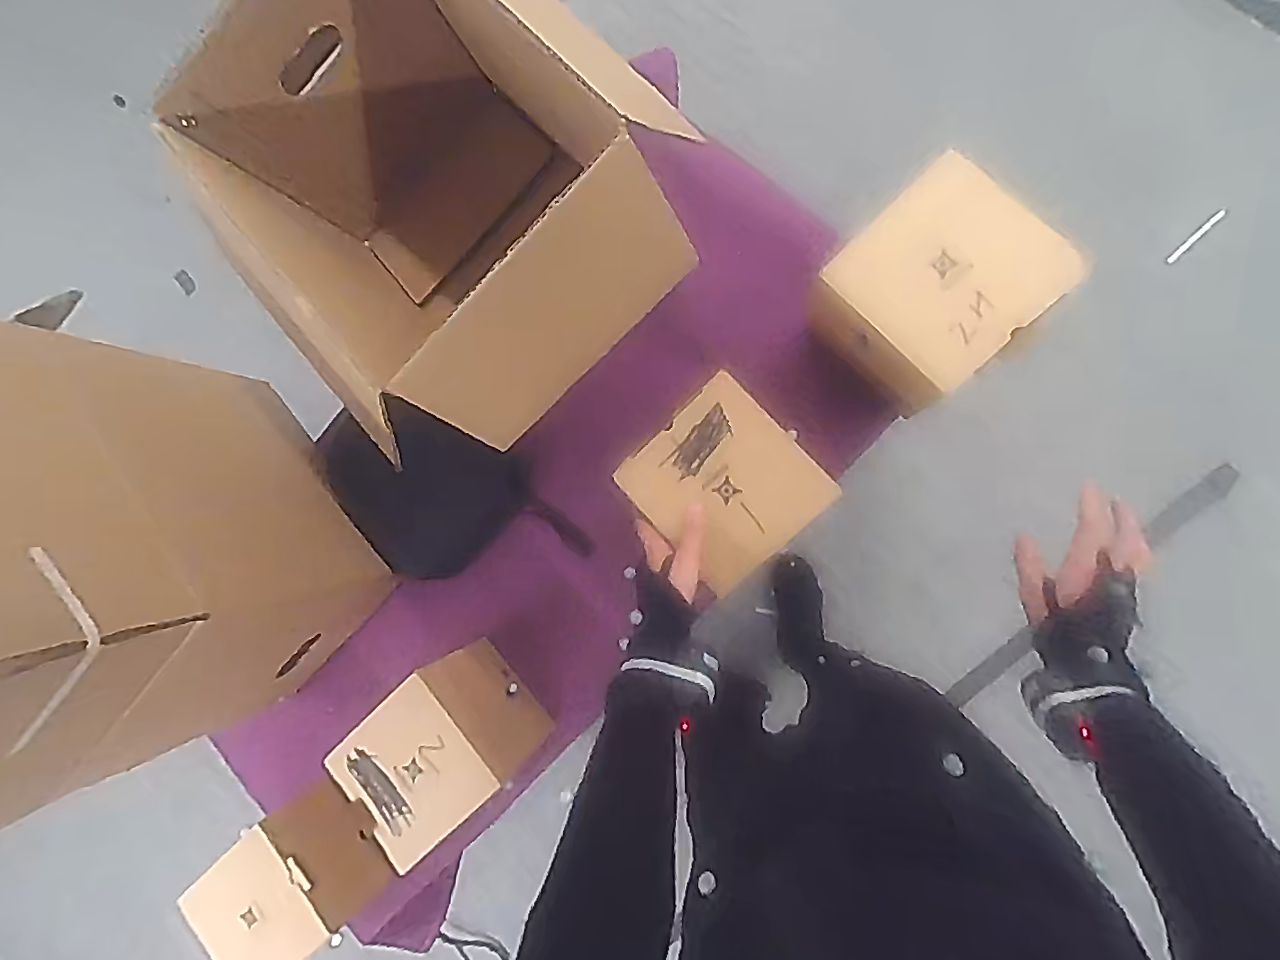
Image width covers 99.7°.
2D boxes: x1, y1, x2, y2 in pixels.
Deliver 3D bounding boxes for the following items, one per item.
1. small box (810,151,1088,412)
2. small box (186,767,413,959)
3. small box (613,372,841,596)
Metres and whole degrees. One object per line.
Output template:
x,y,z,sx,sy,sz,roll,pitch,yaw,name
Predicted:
0.304,-0.193,0.584,0.168,0.176,0.179,-43,80,10,small box
-0.461,0.551,0.755,0.179,0.176,0.168,-44,80,8,small box
0.101,0.006,0.631,0.168,0.176,0.179,-44,80,9,small box
